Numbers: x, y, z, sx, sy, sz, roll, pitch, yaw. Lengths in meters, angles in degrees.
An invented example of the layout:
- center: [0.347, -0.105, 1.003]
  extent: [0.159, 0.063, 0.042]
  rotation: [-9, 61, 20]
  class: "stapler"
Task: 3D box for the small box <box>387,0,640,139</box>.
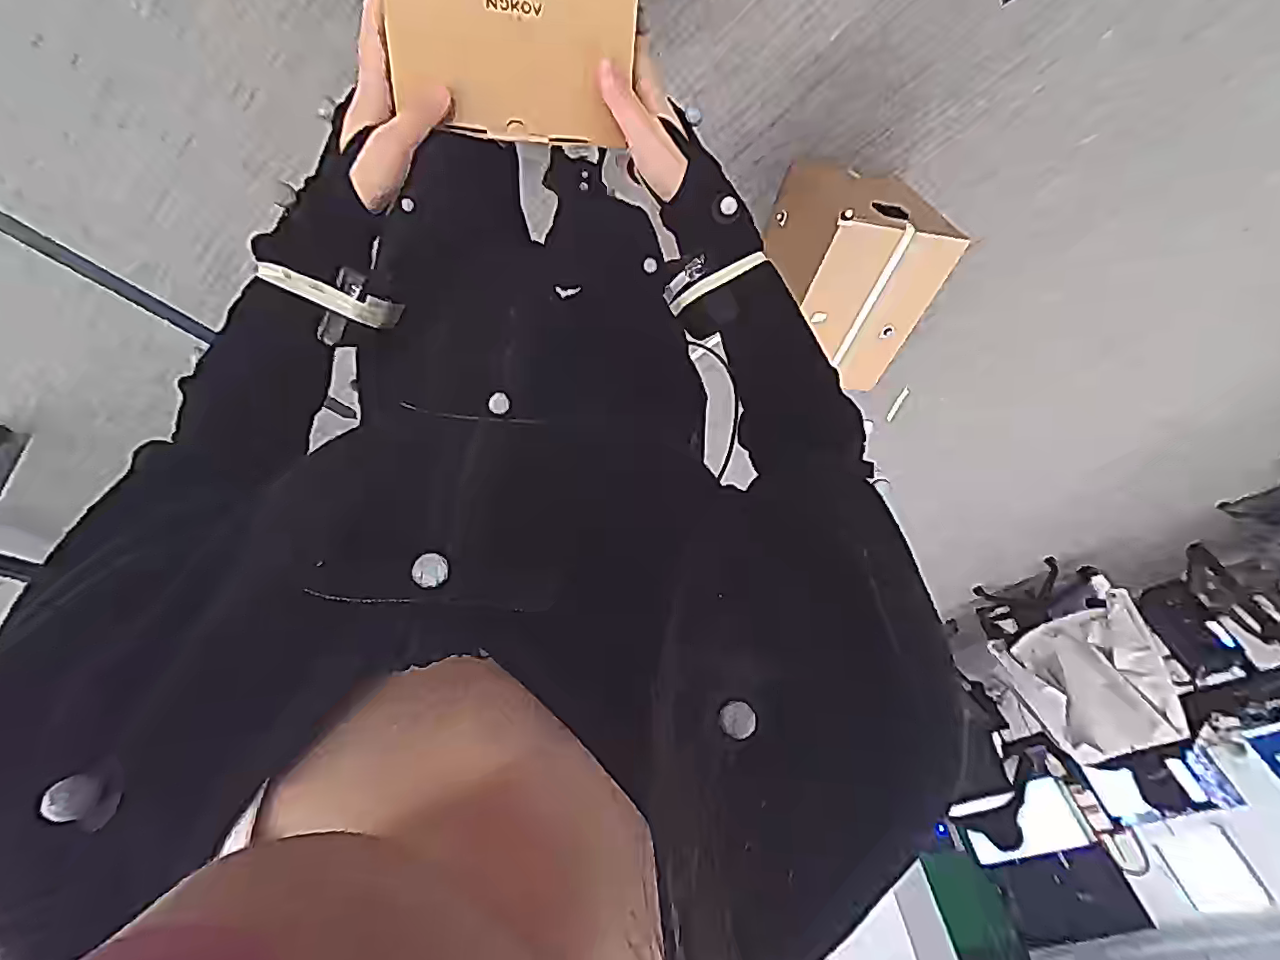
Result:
- center: [-0.094, -0.374, 0.409]
  extent: [0.168, 0.176, 0.179]
  rotation: [-1, 125, -12]
  class: "small box"
